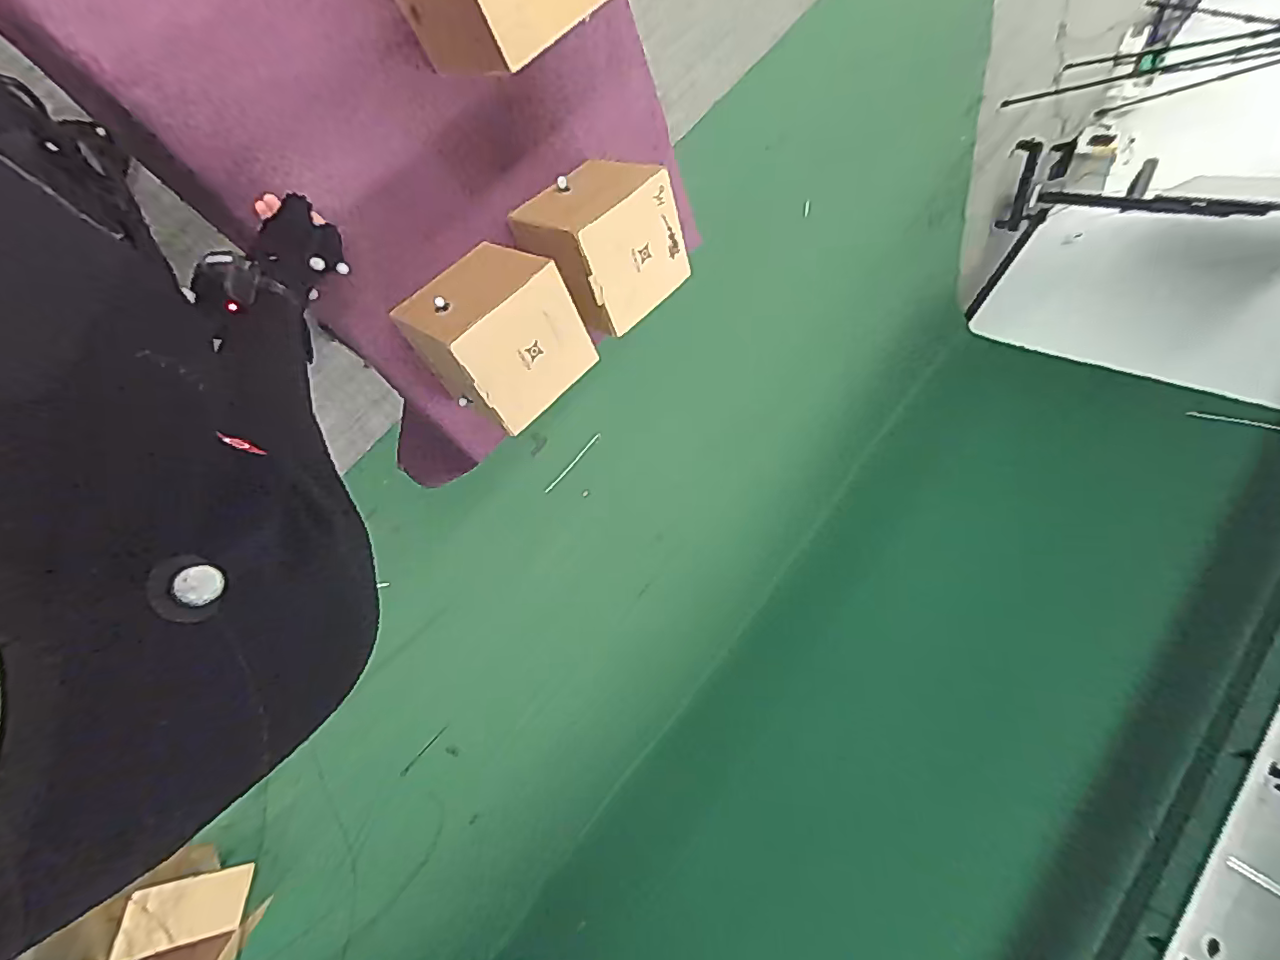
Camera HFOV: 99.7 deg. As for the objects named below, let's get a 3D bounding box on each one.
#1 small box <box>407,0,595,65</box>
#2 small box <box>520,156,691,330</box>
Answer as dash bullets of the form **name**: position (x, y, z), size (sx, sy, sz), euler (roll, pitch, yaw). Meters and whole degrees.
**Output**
- **small box**: position (-0.155, -0.557, 0.549), size (0.179, 0.176, 0.168), euler (-49, 143, -13)
- **small box**: position (-0.055, -0.356, 0.805), size (0.179, 0.176, 0.168), euler (-44, 141, -18)
